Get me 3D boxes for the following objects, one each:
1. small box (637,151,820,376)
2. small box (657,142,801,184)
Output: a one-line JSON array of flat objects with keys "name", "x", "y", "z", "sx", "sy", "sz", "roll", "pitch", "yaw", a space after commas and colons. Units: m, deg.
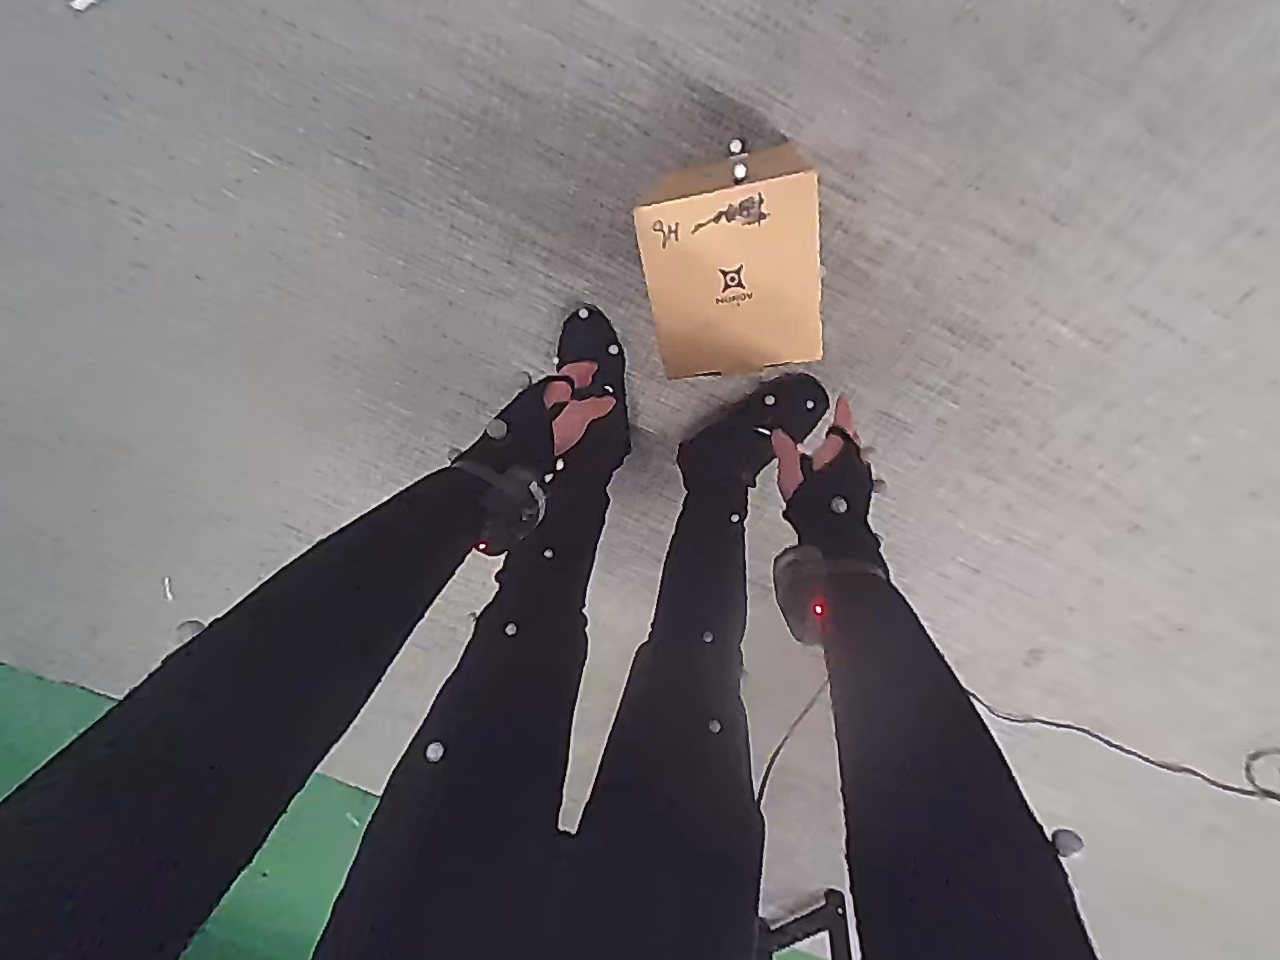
[{"name": "small box", "x": 0.103, "y": -0.237, "z": 0.592, "sx": 0.168, "sy": 0.176, "sz": 0.179, "roll": -5, "pitch": 125, "yaw": 13}, {"name": "small box", "x": 0.128, "y": -0.333, "z": 0.724, "sx": 0.168, "sy": 0.176, "sz": 0.179, "roll": -6, "pitch": 123, "yaw": 14}]
